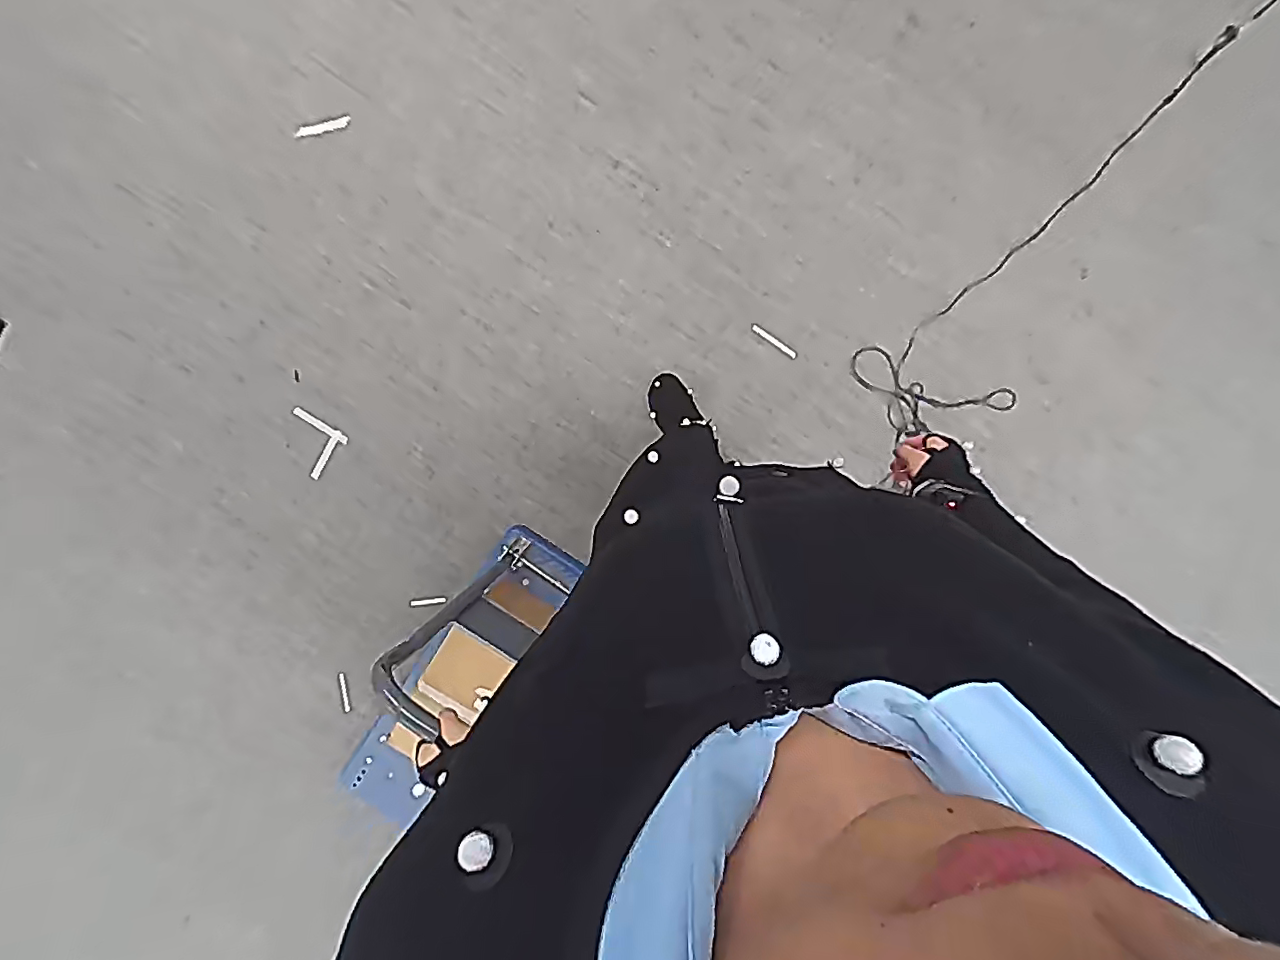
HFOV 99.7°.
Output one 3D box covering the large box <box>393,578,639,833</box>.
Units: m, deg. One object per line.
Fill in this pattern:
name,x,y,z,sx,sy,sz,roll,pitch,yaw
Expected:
large box,-0.254,0.488,1.243,0.408,0.320,0.320,31,96,0
